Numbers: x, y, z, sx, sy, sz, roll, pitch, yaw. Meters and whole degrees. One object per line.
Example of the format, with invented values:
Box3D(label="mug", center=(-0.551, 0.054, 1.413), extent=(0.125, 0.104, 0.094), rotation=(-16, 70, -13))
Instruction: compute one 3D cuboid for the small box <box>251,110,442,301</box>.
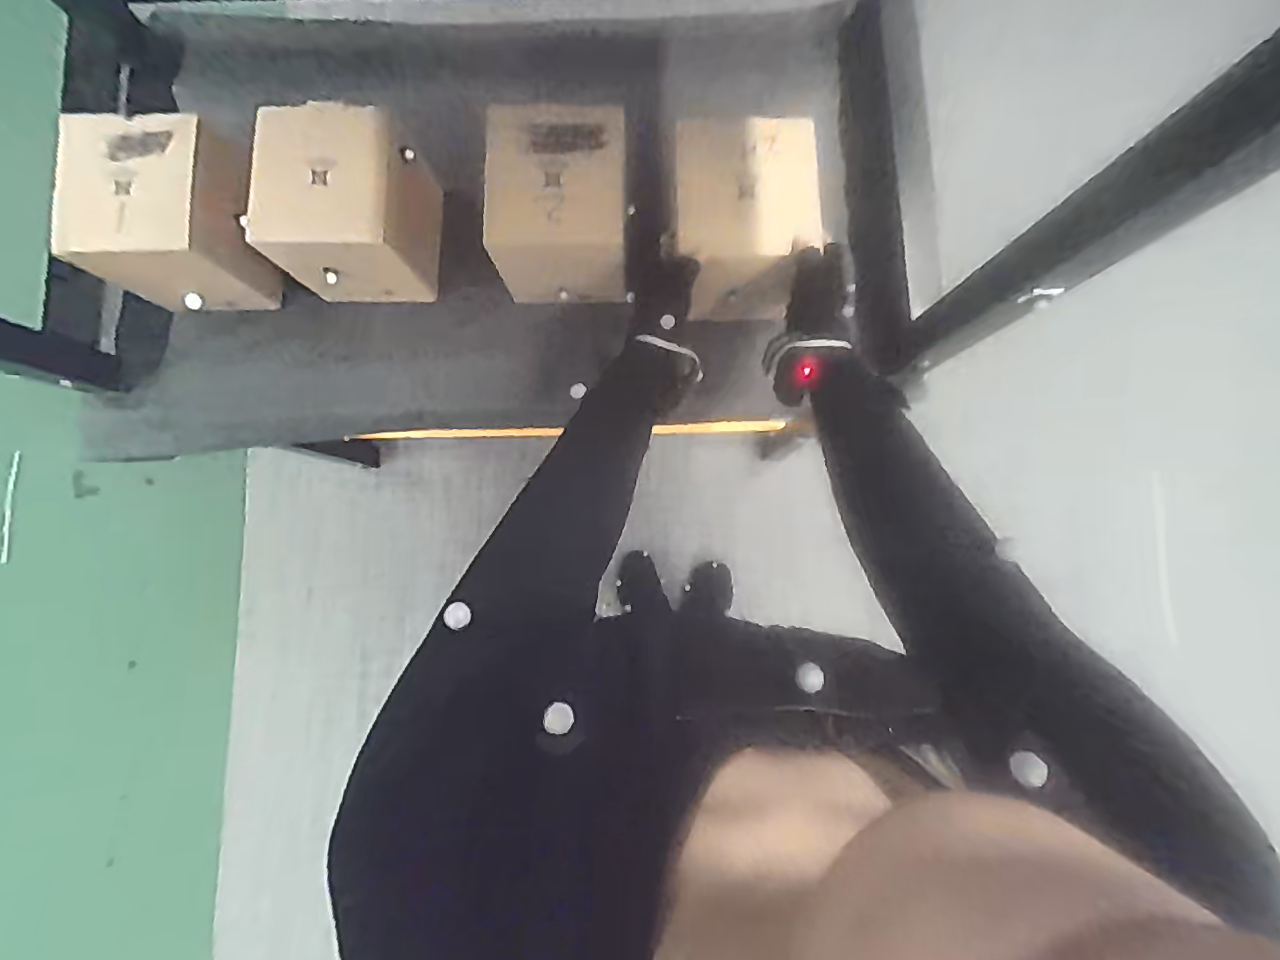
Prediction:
Box3D(label="small box", center=(-0.379, -0.355, 0.728), extent=(0.168, 0.176, 0.179), rotation=(0, 83, 0))

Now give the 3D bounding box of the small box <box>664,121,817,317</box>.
Box3D(label="small box", center=(0.119, -0.327, 0.706), extent=(0.168, 0.176, 0.179), rotation=(-1, 81, -2))

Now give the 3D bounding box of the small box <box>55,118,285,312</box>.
Box3D(label="small box", center=(-0.606, -0.343, 0.724), extent=(0.168, 0.176, 0.179), rotation=(-1, 84, 0))
